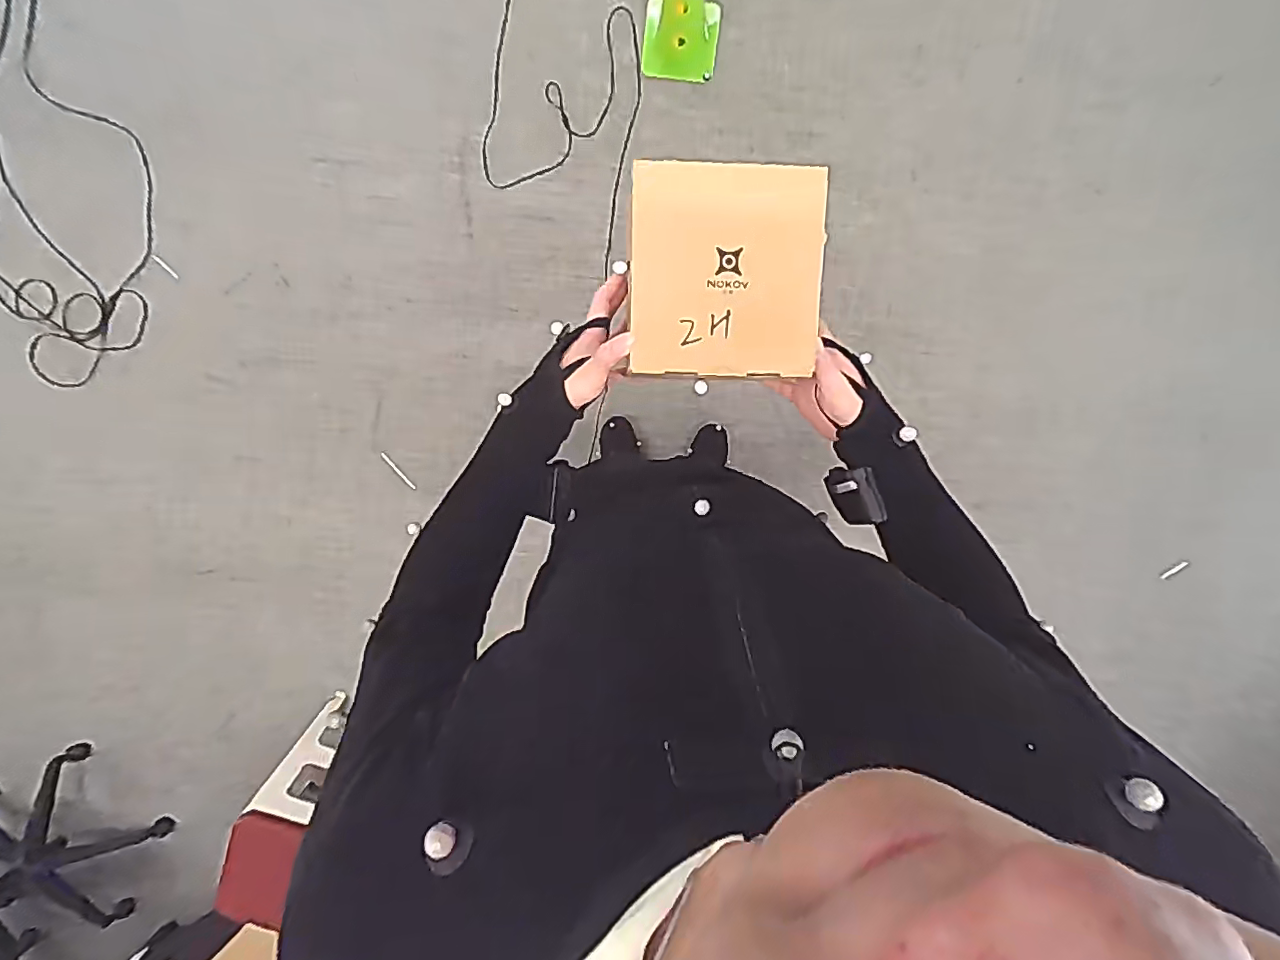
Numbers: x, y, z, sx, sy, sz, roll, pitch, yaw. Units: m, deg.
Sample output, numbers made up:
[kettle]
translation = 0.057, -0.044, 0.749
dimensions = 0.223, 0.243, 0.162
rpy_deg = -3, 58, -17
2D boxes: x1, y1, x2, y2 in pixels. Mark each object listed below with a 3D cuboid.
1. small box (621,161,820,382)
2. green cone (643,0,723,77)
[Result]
[small box]
translation = 0.067, -0.193, 0.551
dimensions = 0.168, 0.176, 0.179
rpy_deg = 2, 100, -3
[green cone]
translation = 0.111, -1.192, 1.301
dimensions = 0.202, 0.368, 0.200
rpy_deg = 7, 97, 1
